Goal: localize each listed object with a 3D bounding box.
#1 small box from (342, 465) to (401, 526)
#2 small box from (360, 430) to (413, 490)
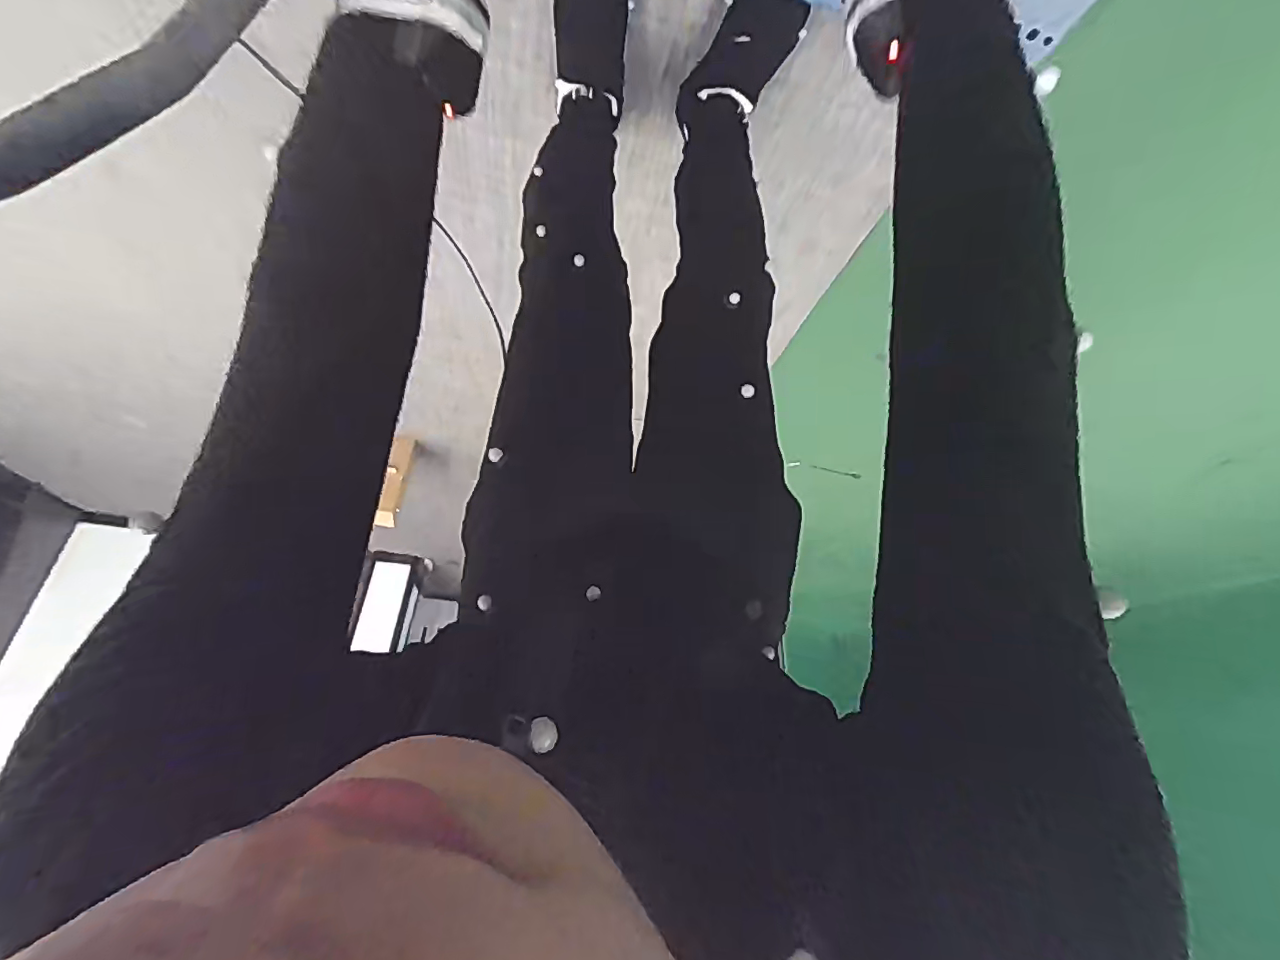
[{"bbox_3d":[-1.054,0.063,2.133,0.168,0.176,0.179,14,152,-16],"label":"small box"},{"bbox_3d":[-1.034,-0.080,2.202,0.168,0.176,0.179,14,152,-22],"label":"small box"}]
